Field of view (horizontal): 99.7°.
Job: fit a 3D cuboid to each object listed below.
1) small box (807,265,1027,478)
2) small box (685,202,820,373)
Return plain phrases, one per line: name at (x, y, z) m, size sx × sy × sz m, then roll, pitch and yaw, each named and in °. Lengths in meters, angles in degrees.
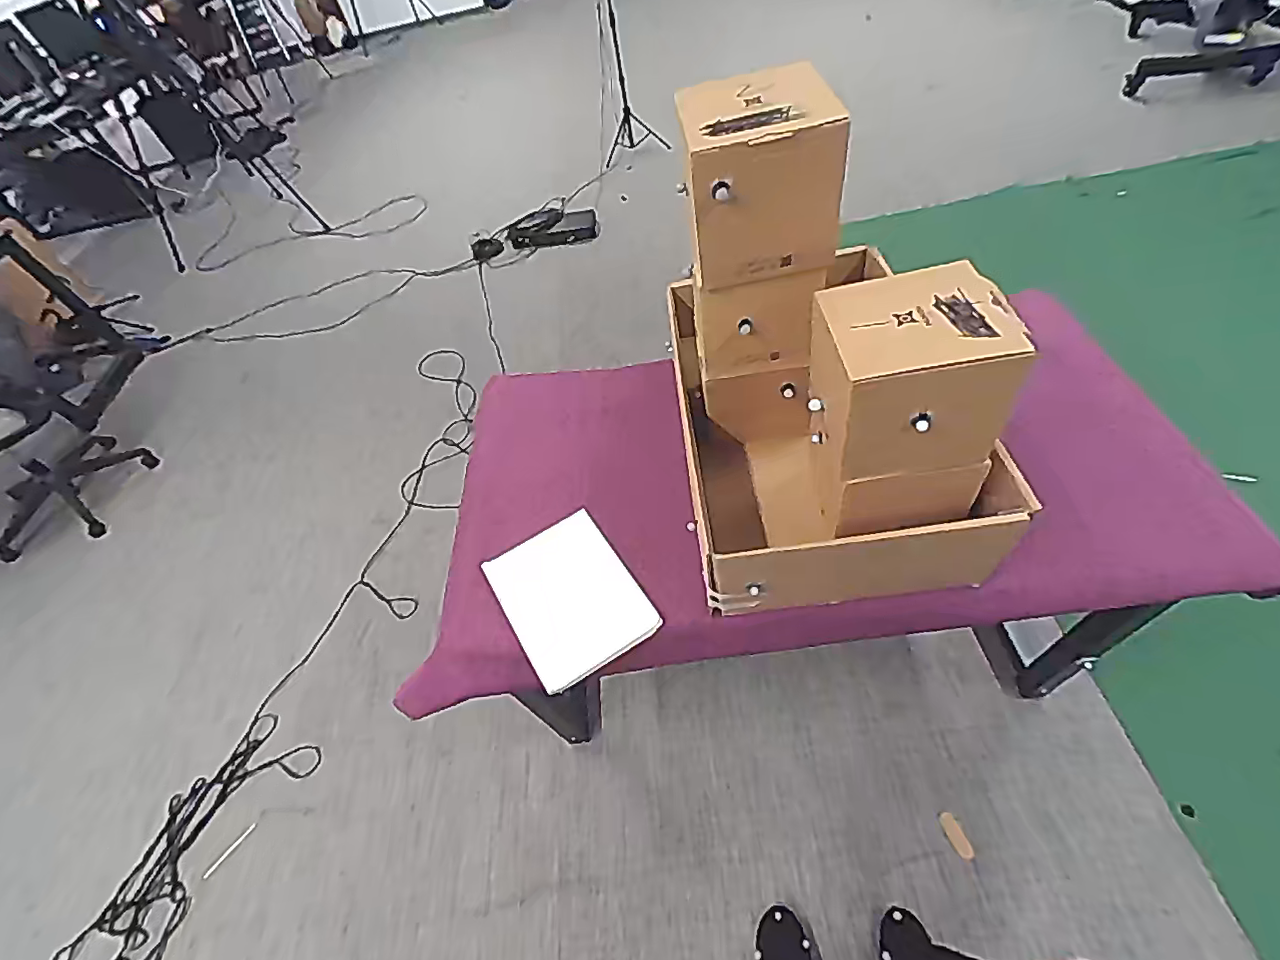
small box at (0.305, -0.123, 0.643) m, size 0.179 × 0.176 × 0.168 m, roll -9°, pitch 50°, yaw 9°
small box at (0.163, -0.276, 0.804) m, size 0.168 × 0.176 × 0.179 m, roll -7°, pitch 53°, yaw 7°
